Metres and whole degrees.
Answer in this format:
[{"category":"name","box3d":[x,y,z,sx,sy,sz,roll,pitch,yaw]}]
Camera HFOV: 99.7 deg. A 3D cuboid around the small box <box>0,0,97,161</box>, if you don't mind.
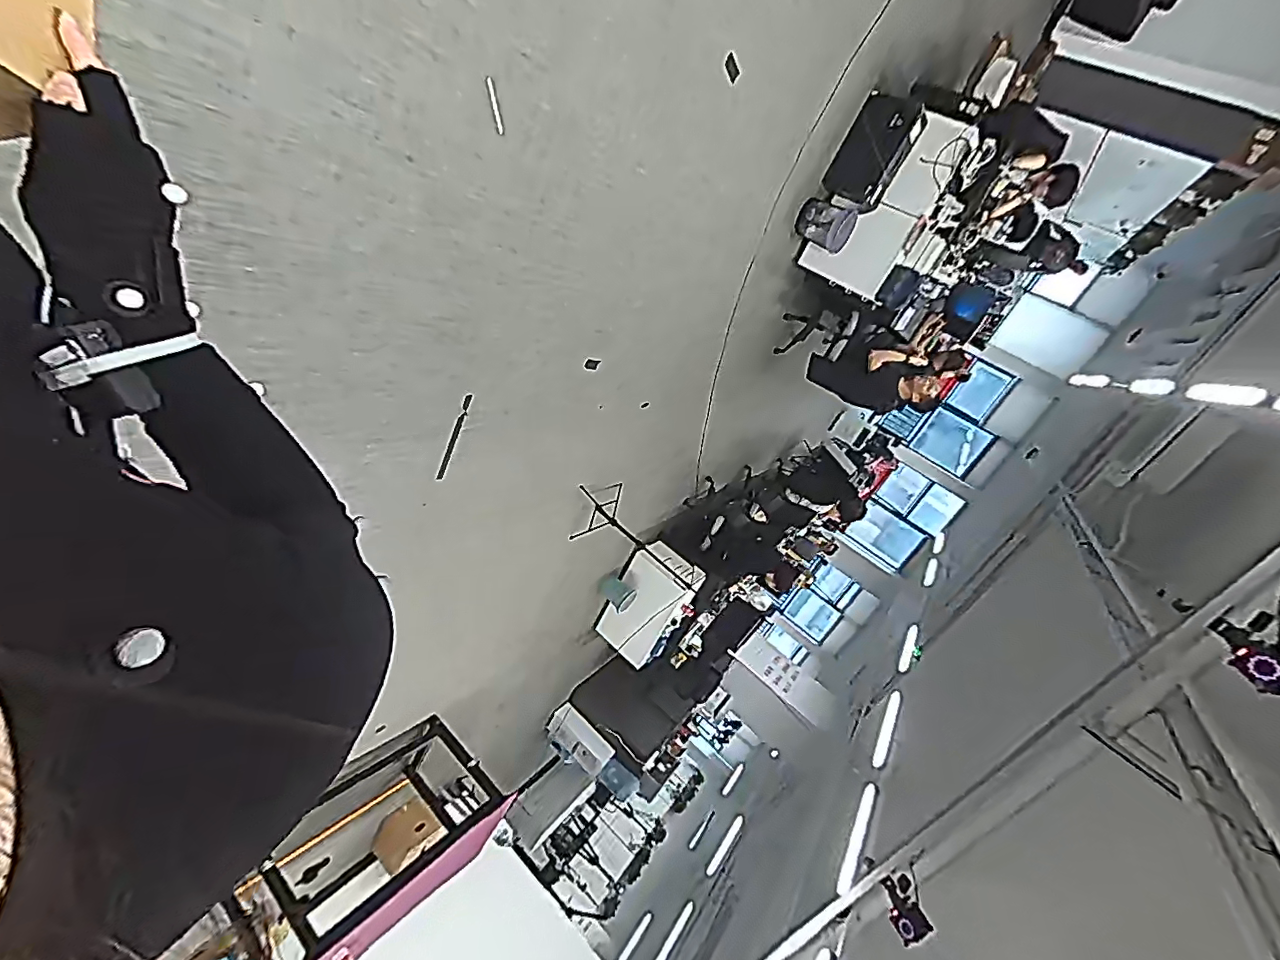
[{"category":"small box","box3d":[-0.444,-0.296,0.280,0.168,0.179,0.176,39,44,-86]}]
